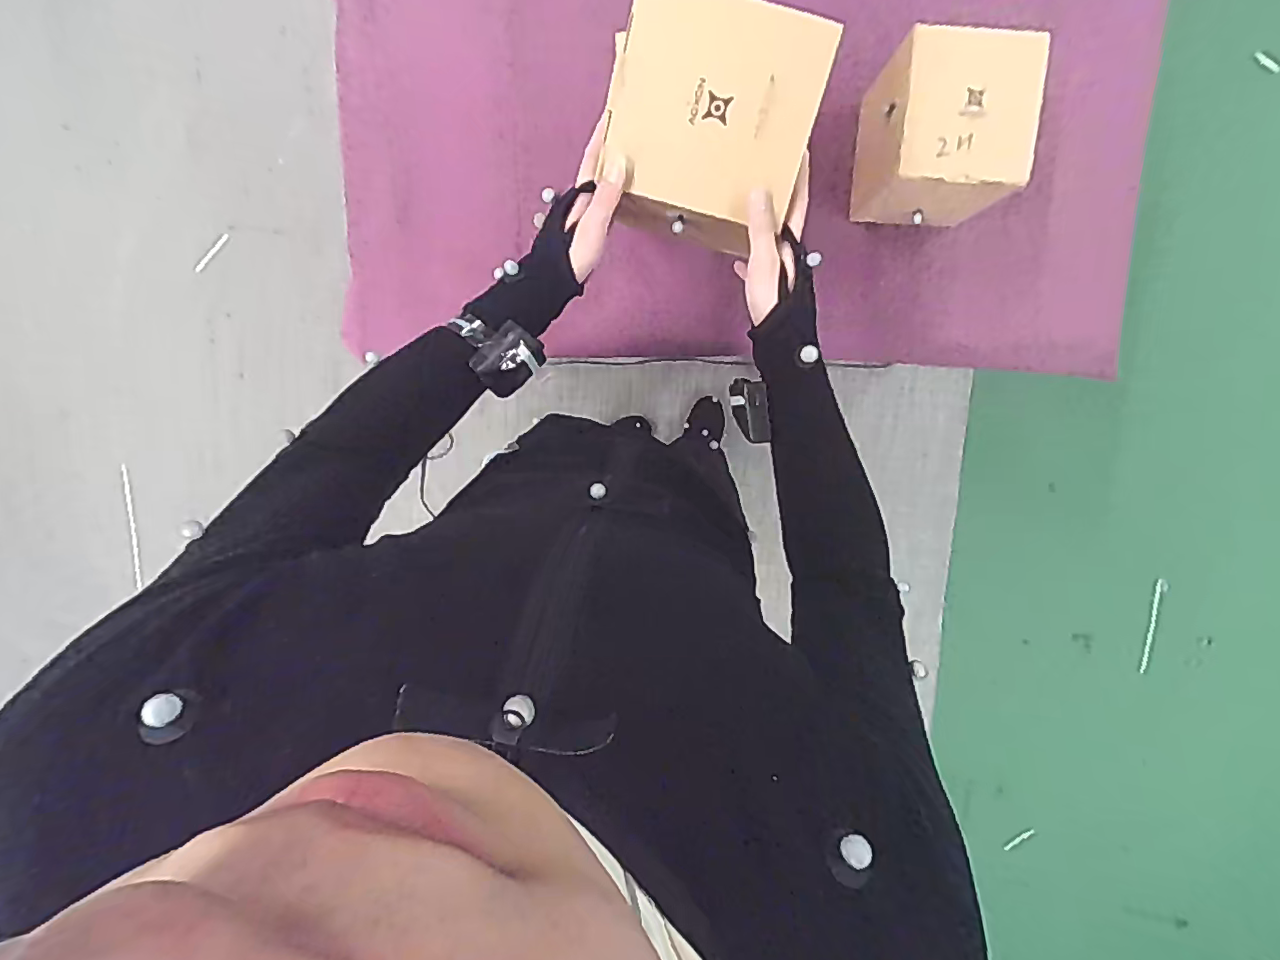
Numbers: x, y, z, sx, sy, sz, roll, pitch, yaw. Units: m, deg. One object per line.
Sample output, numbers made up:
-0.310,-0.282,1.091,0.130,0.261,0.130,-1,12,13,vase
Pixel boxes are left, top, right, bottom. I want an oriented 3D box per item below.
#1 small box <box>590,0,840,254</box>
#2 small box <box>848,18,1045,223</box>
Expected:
0.065,-0.338,0.538,0.179,0.176,0.168,16,105,0,small box
0.401,-0.475,0.740,0.168,0.176,0.179,4,99,0,small box
